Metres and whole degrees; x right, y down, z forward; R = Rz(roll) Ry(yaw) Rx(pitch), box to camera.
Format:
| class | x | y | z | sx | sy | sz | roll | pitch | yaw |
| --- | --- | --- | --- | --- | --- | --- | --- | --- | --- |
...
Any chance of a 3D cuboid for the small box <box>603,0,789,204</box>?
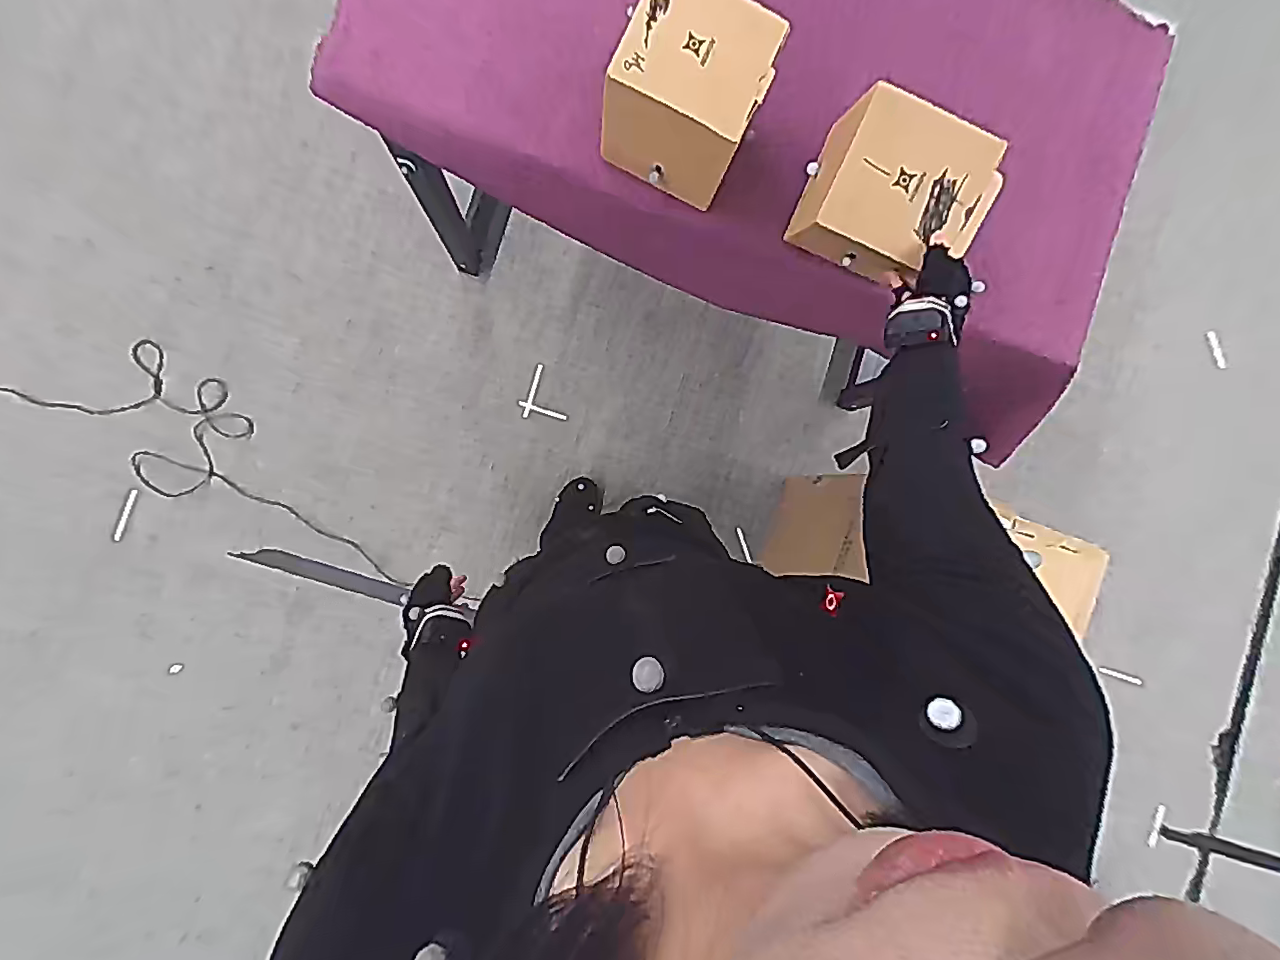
| class | x | y | z | sx | sy | sz | roll | pitch | yaw |
| --- | --- | --- | --- | --- | --- | --- | --- | --- | --- |
| small box | 0.062 | -0.507 | 0.724 | 0.179 | 0.176 | 0.168 | 25 | 86 | -6 |

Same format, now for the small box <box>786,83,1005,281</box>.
| class | x | y | z | sx | sy | sz | roll | pitch | yaw |
| --- | --- | --- | --- | --- | --- | --- | --- | --- | --- |
| small box | 0.326 | -0.381 | 0.730 | 0.179 | 0.176 | 0.168 | 22 | 105 | -5 |
